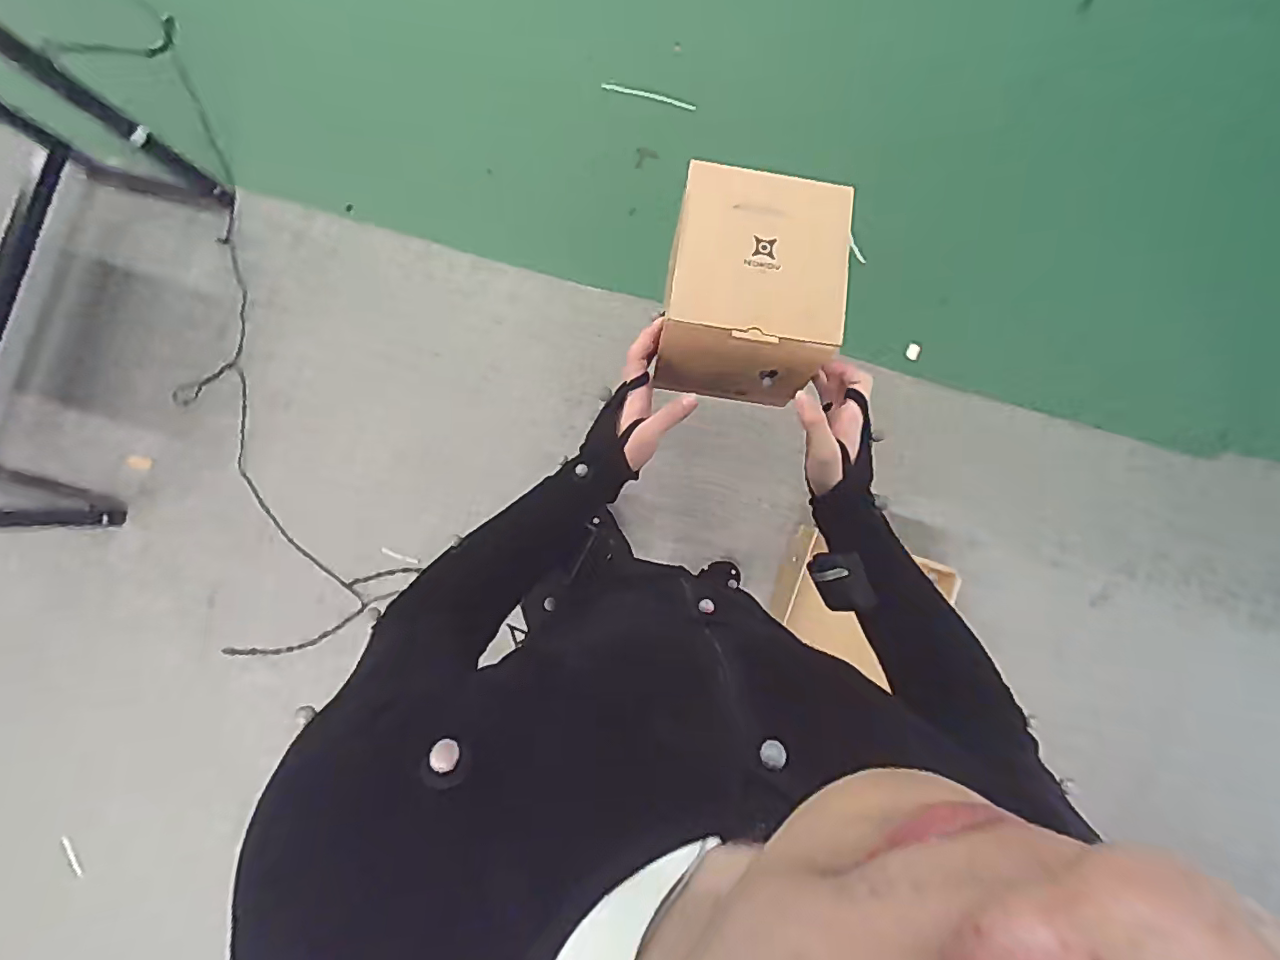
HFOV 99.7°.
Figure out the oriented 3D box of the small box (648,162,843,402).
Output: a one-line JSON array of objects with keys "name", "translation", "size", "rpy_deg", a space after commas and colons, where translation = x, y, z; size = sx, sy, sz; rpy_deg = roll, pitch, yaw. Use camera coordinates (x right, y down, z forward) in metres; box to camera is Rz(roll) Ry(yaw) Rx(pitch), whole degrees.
[{"name": "small box", "translation": [0.102, -0.199, 0.589], "size": [0.168, 0.176, 0.179], "rpy_deg": [9, 78, -2]}]
